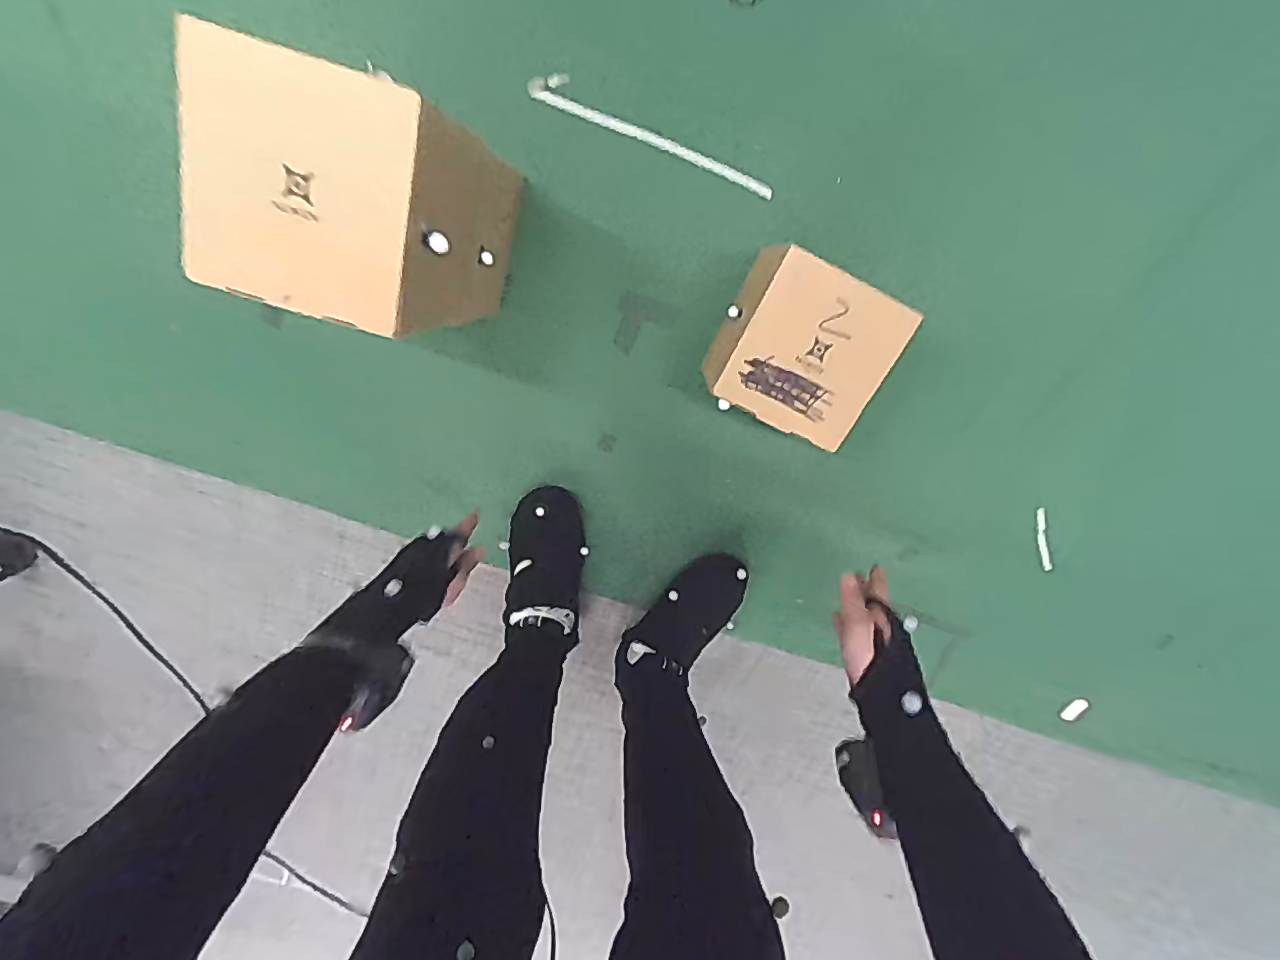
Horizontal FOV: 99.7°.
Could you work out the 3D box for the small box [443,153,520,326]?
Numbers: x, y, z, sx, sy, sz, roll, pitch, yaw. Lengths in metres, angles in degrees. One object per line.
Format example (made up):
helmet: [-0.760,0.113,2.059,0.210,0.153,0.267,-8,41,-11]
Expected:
small box: [-0.251,-0.297,0.630,0.168,0.176,0.179,17,111,-5]

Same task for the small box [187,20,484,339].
small box: [-0.249,-0.242,0.476,0.168,0.176,0.179,16,112,-4]
